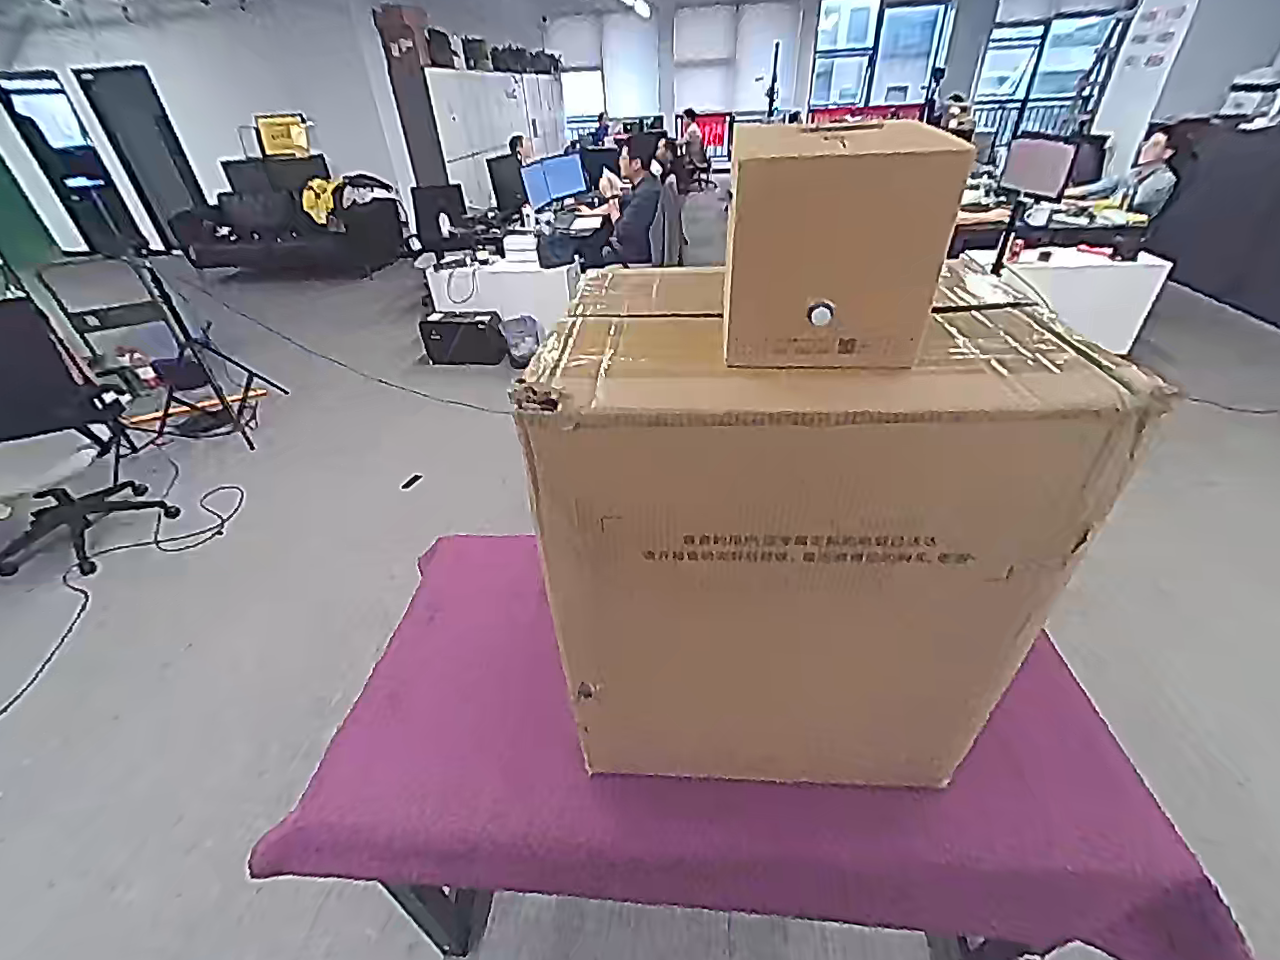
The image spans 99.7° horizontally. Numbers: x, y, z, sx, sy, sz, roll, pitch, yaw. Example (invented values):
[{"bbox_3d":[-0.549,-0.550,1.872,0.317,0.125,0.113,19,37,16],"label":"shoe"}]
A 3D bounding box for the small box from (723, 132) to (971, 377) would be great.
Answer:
[{"bbox_3d":[0.163,-0.210,0.497,0.168,0.176,0.179,2,38,8],"label":"small box"}]
